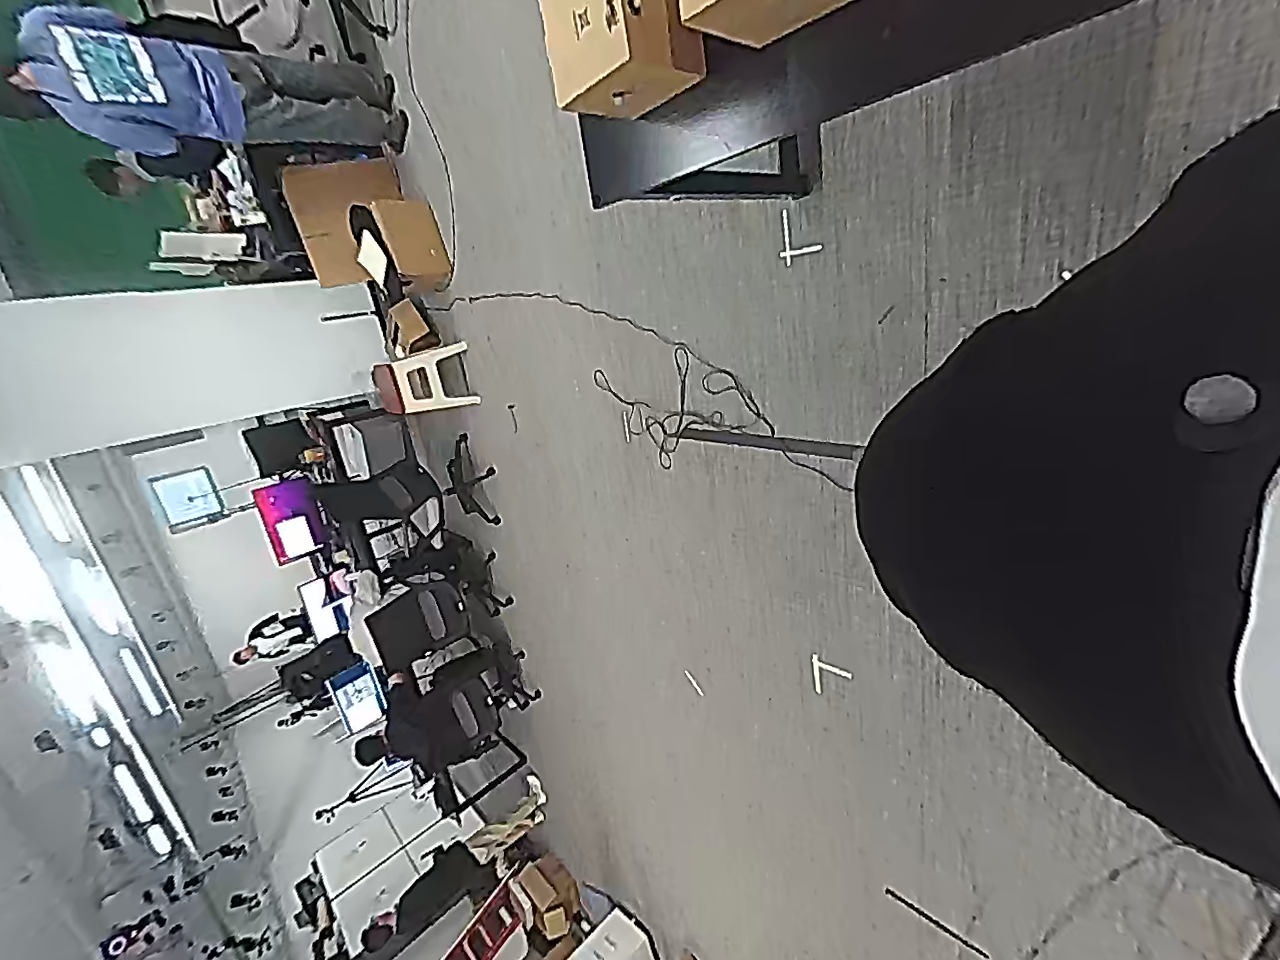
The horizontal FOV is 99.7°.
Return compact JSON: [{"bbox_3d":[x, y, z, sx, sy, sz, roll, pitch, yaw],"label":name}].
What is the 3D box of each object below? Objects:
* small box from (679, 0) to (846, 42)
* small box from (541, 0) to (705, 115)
[{"bbox_3d":[0.158,-0.654,0.631,0.179,0.176,0.168,13,118,46],"label":"small box"},{"bbox_3d":[-0.025,-0.689,0.831,0.179,0.176,0.168,8,115,48],"label":"small box"}]
